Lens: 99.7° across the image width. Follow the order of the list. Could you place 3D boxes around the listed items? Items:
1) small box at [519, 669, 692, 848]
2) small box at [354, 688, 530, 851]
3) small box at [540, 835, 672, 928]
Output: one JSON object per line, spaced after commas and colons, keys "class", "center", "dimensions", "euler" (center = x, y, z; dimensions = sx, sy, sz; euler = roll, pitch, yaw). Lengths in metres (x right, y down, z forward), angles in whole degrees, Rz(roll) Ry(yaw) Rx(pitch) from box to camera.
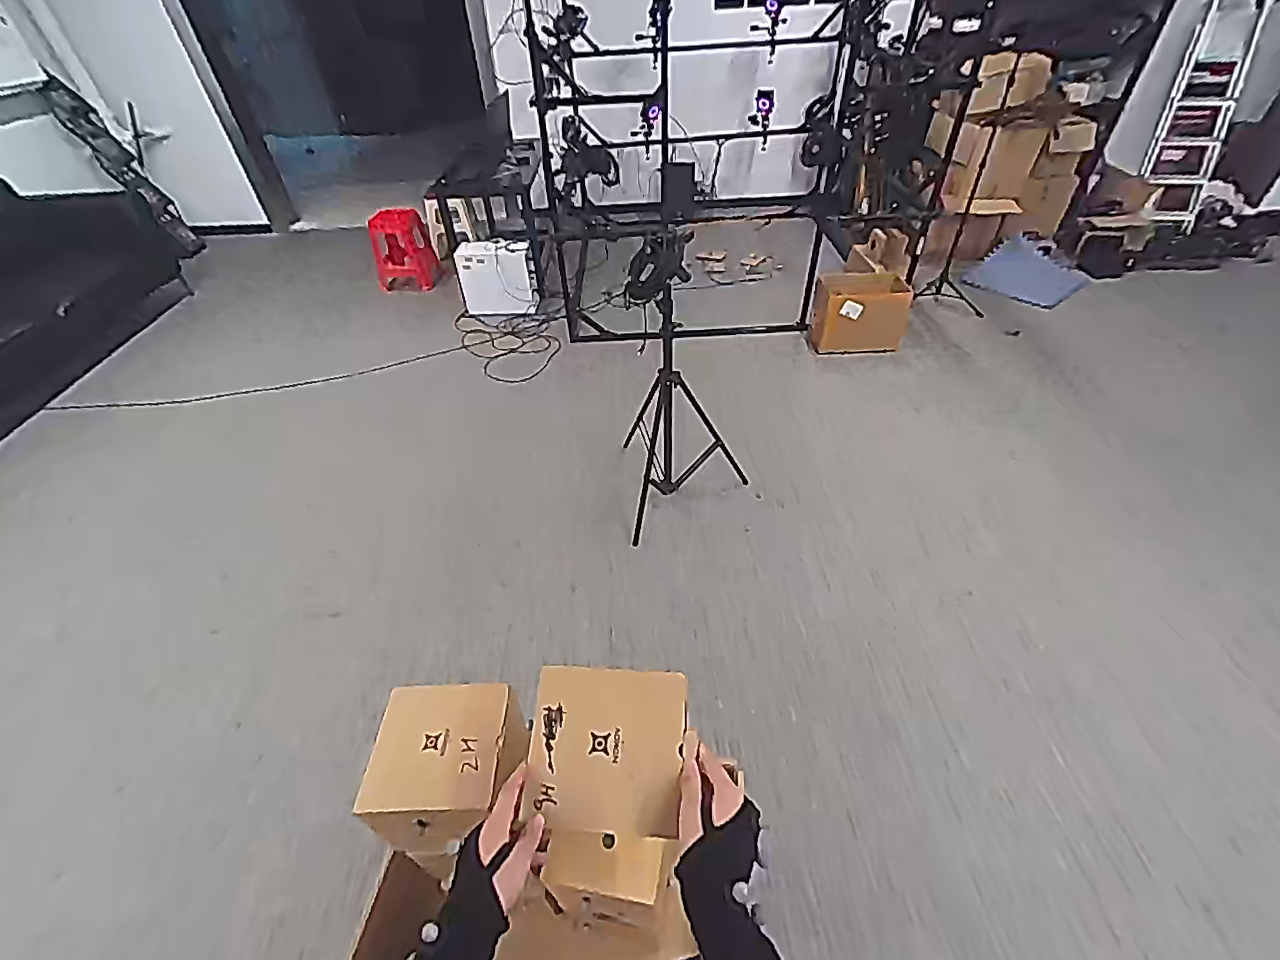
{"class": "small box", "center": [-0.032, 0.339, 0.661], "dimensions": [0.179, 0.176, 0.168], "euler": [3, 58, 3]}
{"class": "small box", "center": [-0.268, 0.418, 0.779], "dimensions": [0.179, 0.176, 0.168], "euler": [-1, 42, 0]}
{"class": "small box", "center": [-0.037, 0.566, 0.847], "dimensions": [0.168, 0.176, 0.179], "euler": [5, 42, 11]}
